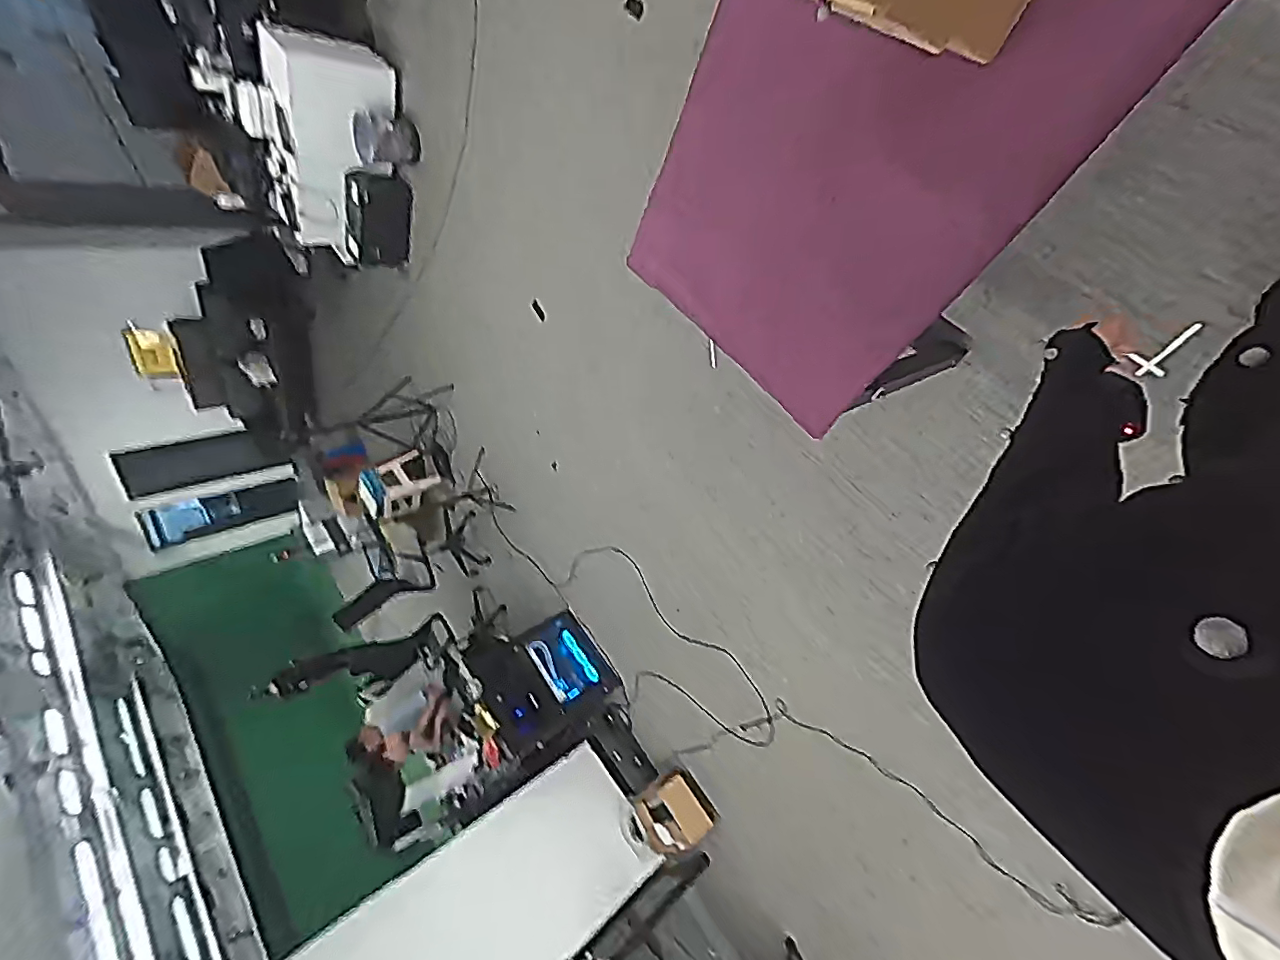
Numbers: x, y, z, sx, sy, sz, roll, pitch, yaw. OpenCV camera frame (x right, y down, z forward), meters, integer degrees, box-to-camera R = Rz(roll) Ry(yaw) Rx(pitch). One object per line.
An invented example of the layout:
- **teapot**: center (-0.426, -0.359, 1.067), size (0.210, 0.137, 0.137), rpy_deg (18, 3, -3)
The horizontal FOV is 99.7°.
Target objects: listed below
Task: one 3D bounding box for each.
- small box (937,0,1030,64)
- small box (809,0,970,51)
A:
- **small box**: center (0.367, -0.621, 0.617), size (0.168, 0.176, 0.179), rpy_deg (49, 136, 25)
- **small box**: center (0.249, -0.557, 0.523), size (0.168, 0.176, 0.179), rpy_deg (48, 136, 25)
